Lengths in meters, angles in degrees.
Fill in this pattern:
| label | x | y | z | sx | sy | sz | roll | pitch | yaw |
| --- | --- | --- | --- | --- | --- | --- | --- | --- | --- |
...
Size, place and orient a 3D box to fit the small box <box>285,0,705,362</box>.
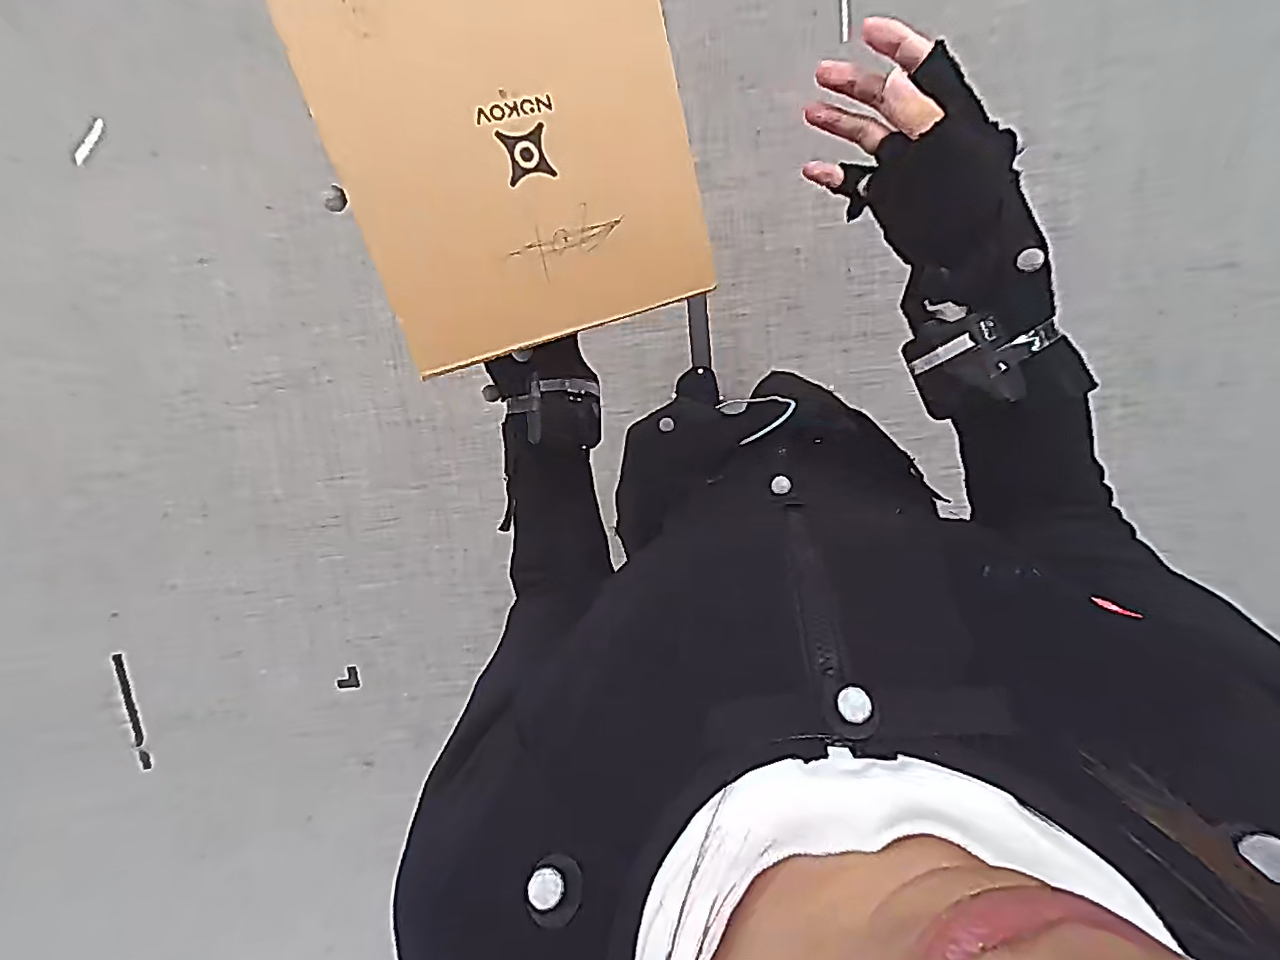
| label | x | y | z | sx | sy | sz | roll | pitch | yaw |
| --- | --- | --- | --- | --- | --- | --- | --- | --- | --- |
| small box | -0.083 | -0.183 | 0.338 | 0.168 | 0.176 | 0.179 | -21 | 111 | -13 |
